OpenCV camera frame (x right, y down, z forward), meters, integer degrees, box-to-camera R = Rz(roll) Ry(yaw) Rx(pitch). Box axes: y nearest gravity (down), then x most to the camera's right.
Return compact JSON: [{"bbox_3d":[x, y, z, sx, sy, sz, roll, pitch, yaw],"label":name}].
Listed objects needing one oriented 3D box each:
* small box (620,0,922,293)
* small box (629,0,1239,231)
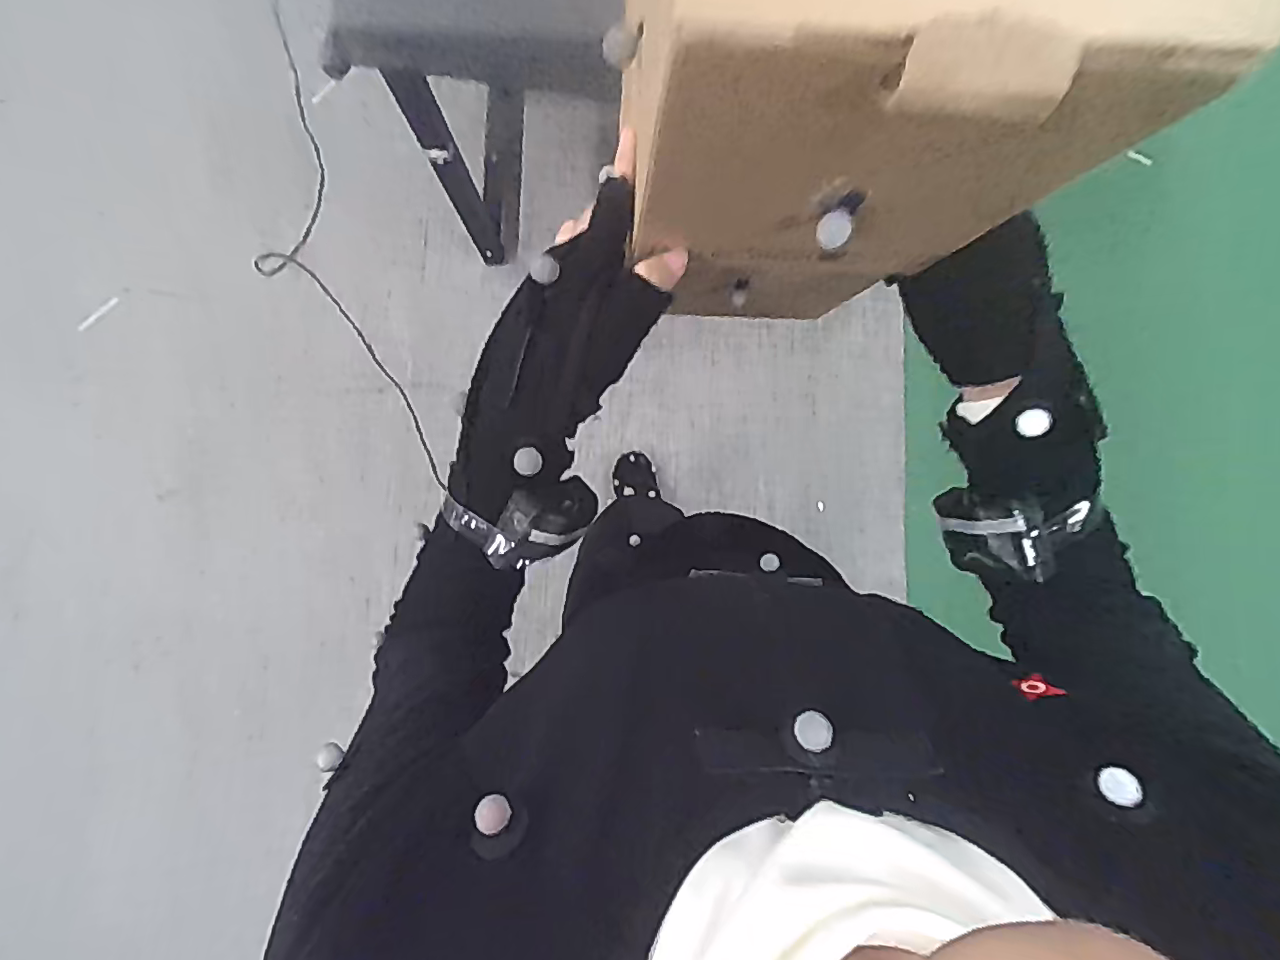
[{"bbox_3d":[0.076,-0.238,0.381,0.179,0.176,0.168,1,94,-3],"label":"small box"},{"bbox_3d":[0.082,-0.219,0.218,0.168,0.176,0.179,1,94,-3],"label":"small box"}]
